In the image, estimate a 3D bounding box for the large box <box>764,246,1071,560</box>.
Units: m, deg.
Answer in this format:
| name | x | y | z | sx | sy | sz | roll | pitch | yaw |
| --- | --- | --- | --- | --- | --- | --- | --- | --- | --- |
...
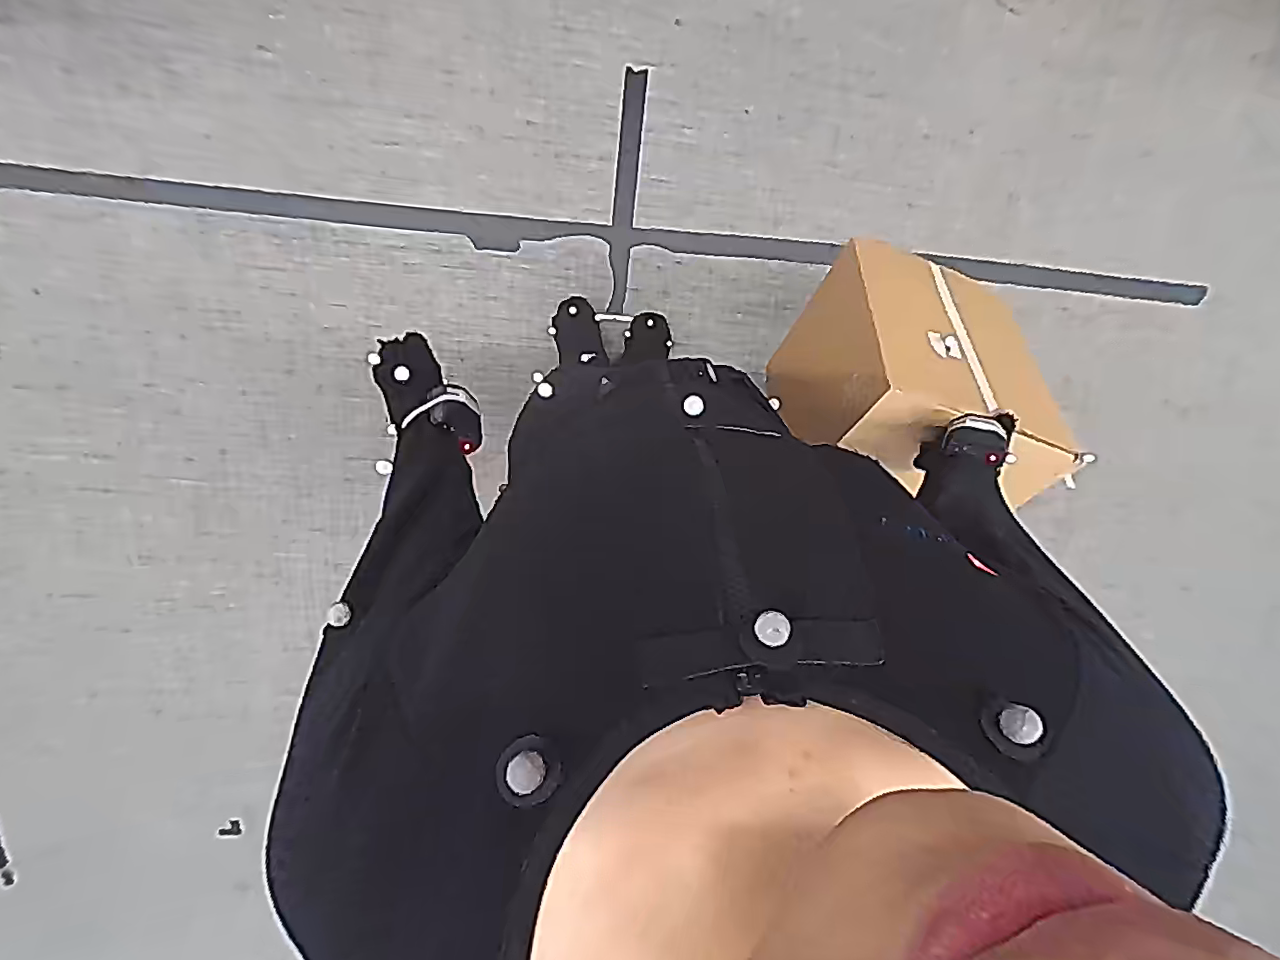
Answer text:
| name | x | y | z | sx | sy | sz | roll | pitch | yaw |
| --- | --- | --- | --- | --- | --- | --- | --- | --- | --- |
| large box | 0.436 | -0.131 | 0.964 | 0.320 | 0.408 | 0.320 | 17 | 141 | -10 |
